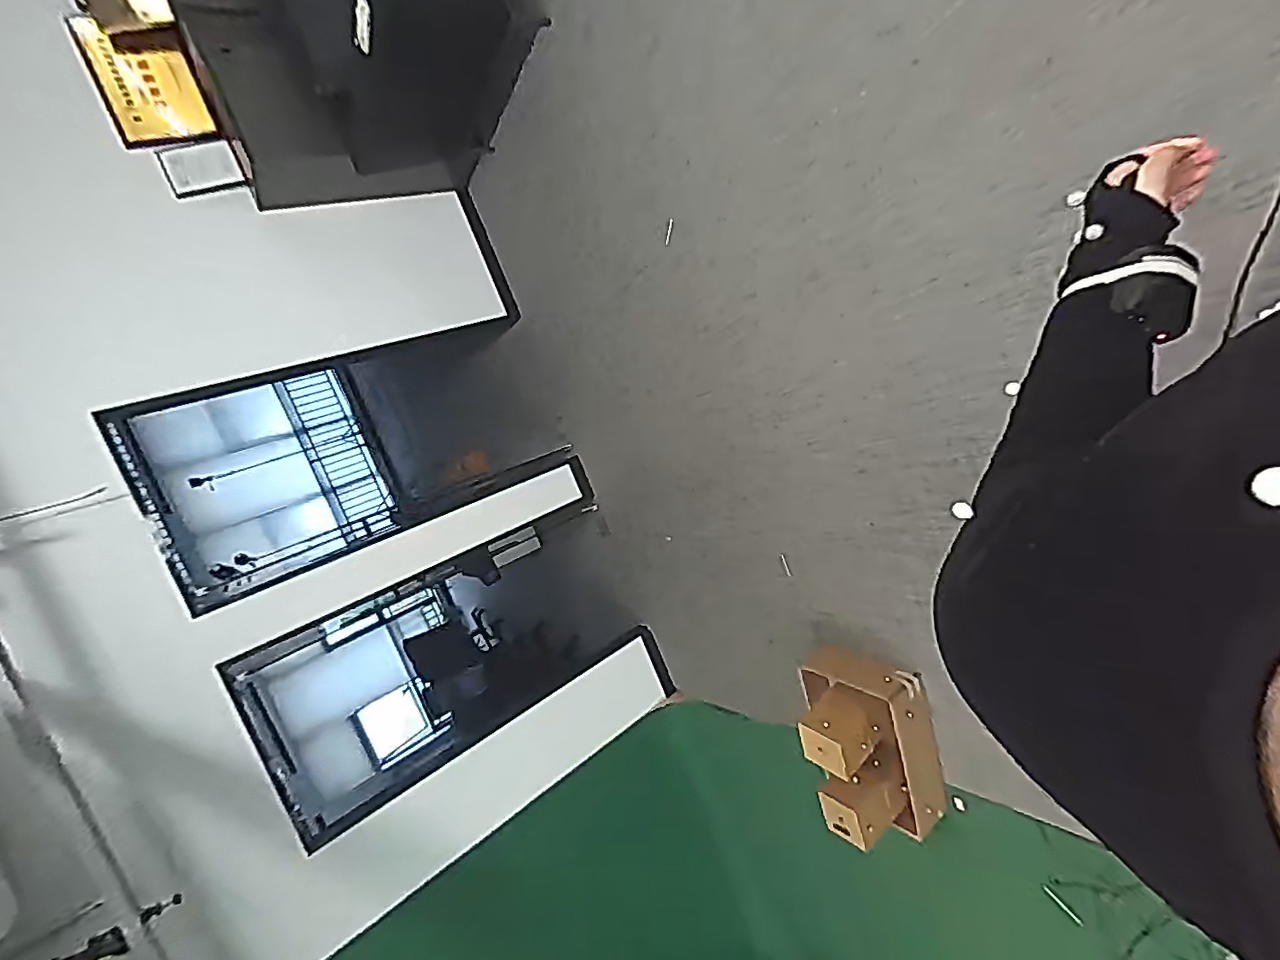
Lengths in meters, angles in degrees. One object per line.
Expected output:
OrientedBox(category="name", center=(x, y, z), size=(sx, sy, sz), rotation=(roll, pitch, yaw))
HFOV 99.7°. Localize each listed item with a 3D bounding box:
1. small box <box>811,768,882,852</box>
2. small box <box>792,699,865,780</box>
OrientedBox(category="small box", center=(0.768, 1.204, 1.997), size=(0.168, 0.176, 0.179), rotation=(0, 110, 56))
OrientedBox(category="small box", center=(0.678, 0.921, 1.943), size=(0.179, 0.176, 0.168), rotation=(8, 118, 52))
